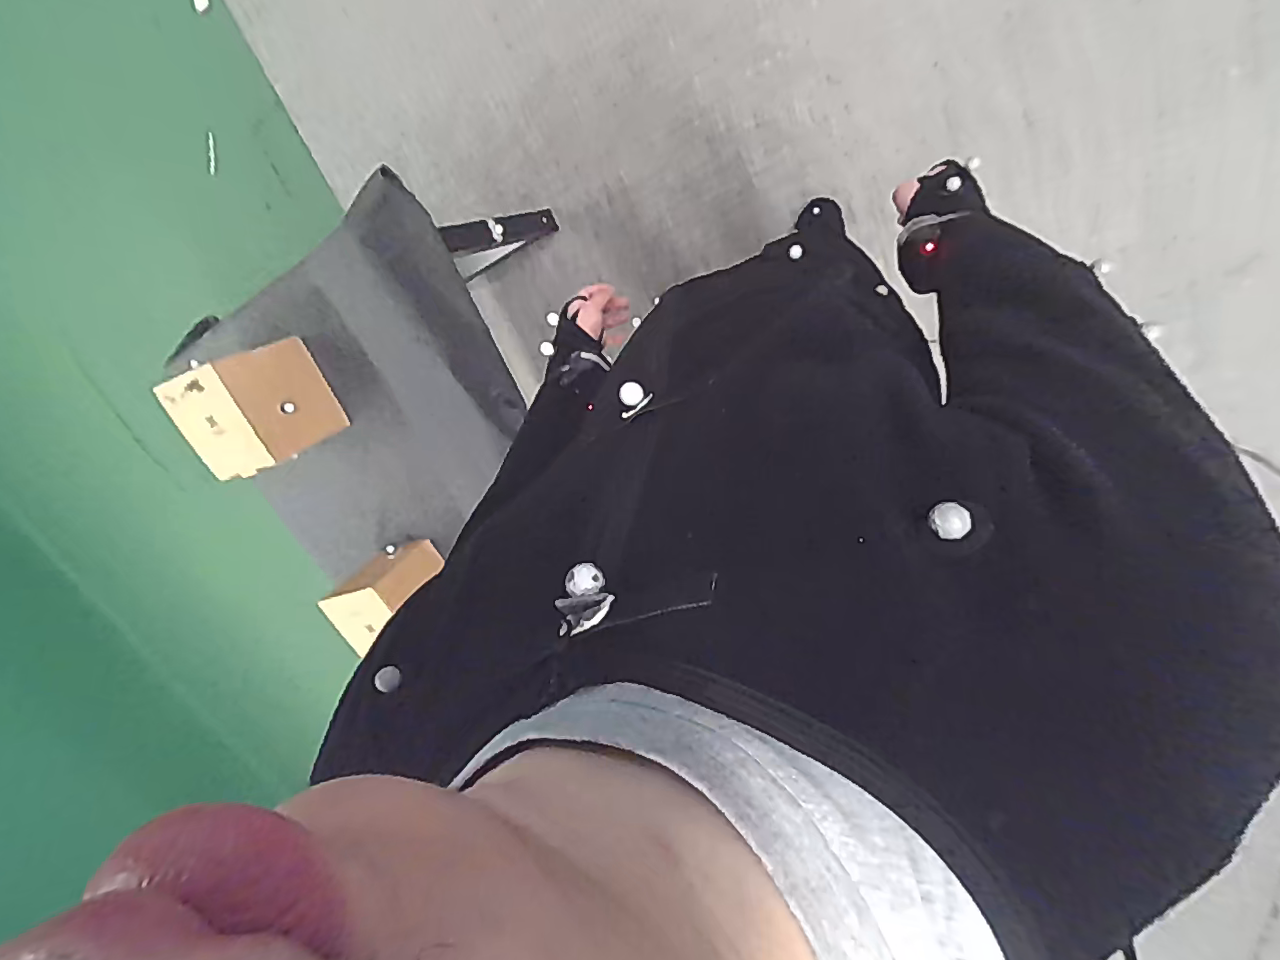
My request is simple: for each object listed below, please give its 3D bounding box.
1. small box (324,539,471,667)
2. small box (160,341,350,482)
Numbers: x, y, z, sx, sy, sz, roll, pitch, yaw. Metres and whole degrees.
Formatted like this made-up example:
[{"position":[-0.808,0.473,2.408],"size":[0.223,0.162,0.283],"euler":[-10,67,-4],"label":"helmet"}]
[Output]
[{"position":[-0.481,0.248,1.098],"size":[0.168,0.176,0.179],"euler":[-18,110,26],"label":"small box"},{"position":[-0.656,-0.121,0.945],"size":[0.168,0.176,0.179],"euler":[-11,115,24],"label":"small box"}]
